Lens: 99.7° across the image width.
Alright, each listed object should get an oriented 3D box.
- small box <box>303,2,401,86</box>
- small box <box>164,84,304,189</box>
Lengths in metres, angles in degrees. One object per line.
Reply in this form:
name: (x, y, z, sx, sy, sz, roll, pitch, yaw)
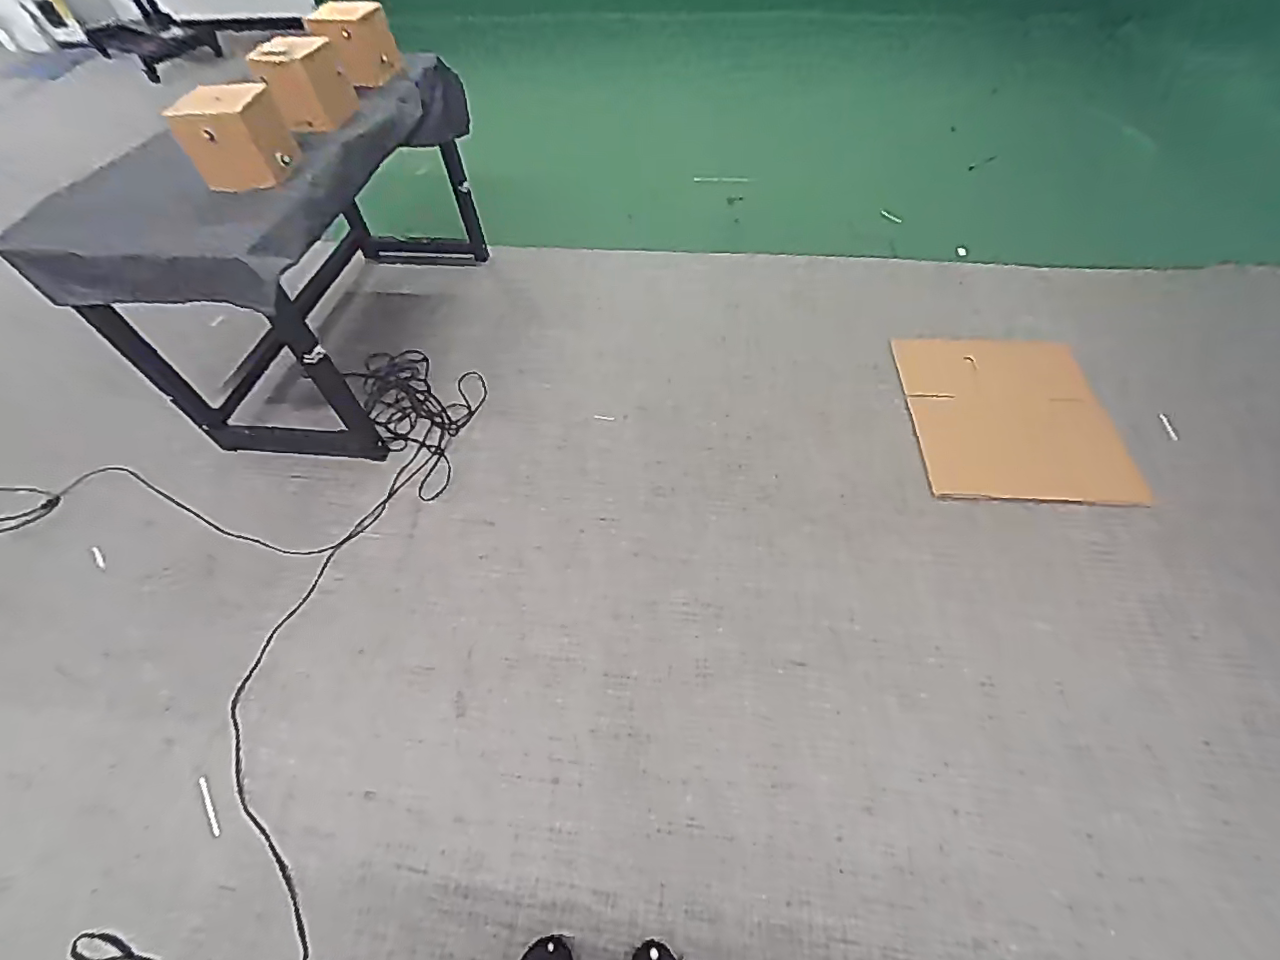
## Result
small box: (-0.879, -1.341, 1.668, 0.179, 0.176, 0.168, 8, 55, 9)
small box: (-0.956, -0.816, 1.292, 0.179, 0.176, 0.168, -1, 55, 1)
